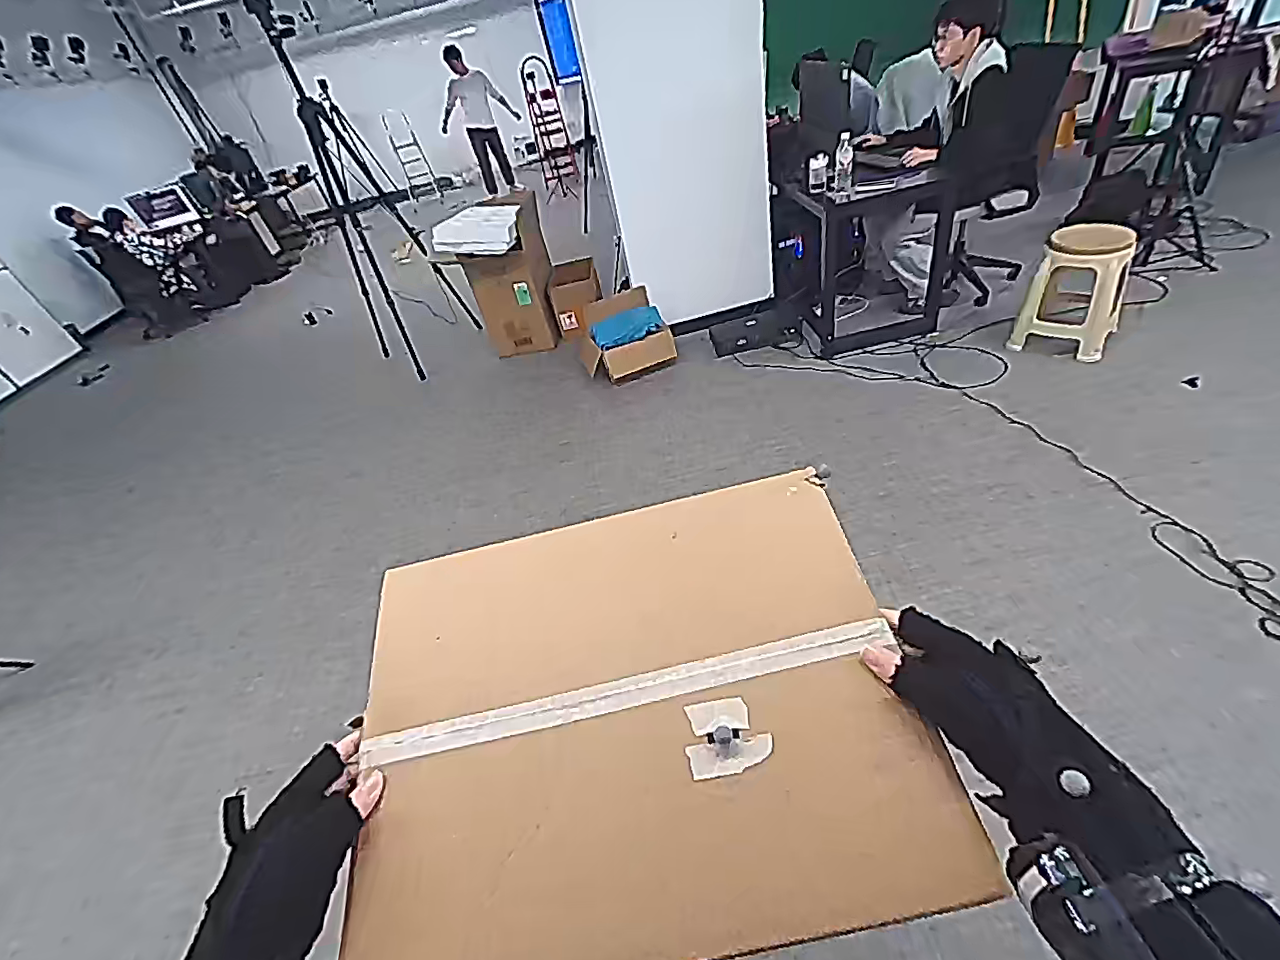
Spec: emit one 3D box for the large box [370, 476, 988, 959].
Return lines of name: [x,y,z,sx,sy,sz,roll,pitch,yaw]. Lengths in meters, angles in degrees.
large box: [0.017,0.248,0.537,0.408,0.320,0.320,-14,54,1]
